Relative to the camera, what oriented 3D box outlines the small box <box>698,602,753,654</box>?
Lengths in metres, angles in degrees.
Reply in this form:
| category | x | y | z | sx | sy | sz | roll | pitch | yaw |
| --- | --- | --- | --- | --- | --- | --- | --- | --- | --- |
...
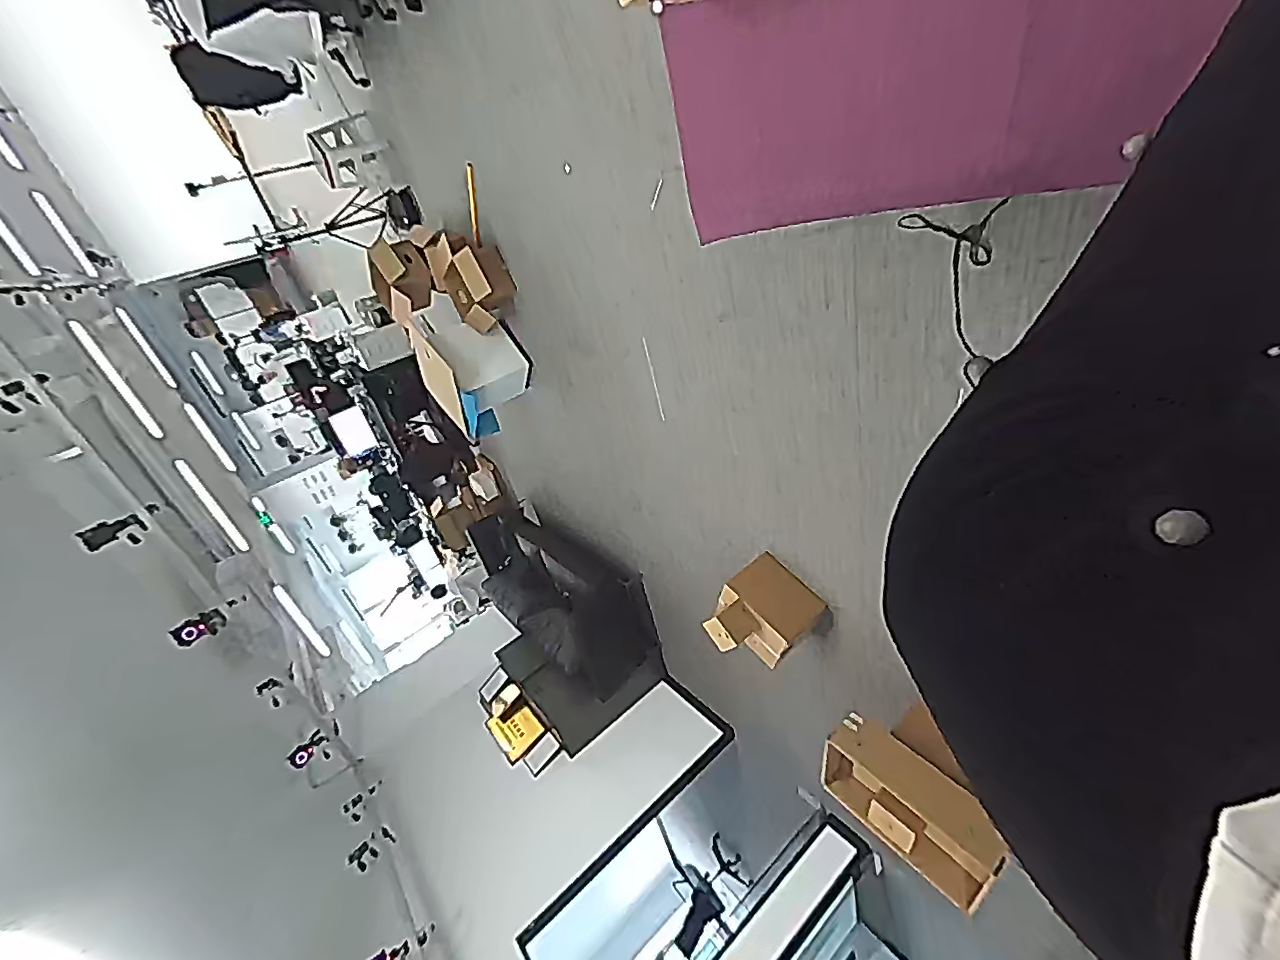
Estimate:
| category | x | y | z | sx | sy | sz | roll | pitch | yaw |
| --- | --- | --- | --- | --- | --- | --- | --- | --- | --- |
| small box | 0.414 | 0.714 | 2.607 | 0.168 | 0.176 | 0.179 | 53 | 151 | 11 |

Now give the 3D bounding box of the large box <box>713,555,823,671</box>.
| category | x | y | z | sx | sy | sz | roll | pitch | yaw |
| --- | --- | --- | --- | --- | --- | --- | --- | --- | --- |
| large box | 0.633 | 0.663 | 2.730 | 0.408 | 0.320 | 0.320 | 41 | 149 | 28 |

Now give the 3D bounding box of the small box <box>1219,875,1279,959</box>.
| category | x | y | z | sx | sy | sz | roll | pitch | yaw |
| --- | --- | --- | --- | --- | --- | --- | --- | --- | --- |
| small box | 1.443 | 1.008 | 1.173 | 0.179 | 0.176 | 0.168 | 50 | 153 | 15 |
